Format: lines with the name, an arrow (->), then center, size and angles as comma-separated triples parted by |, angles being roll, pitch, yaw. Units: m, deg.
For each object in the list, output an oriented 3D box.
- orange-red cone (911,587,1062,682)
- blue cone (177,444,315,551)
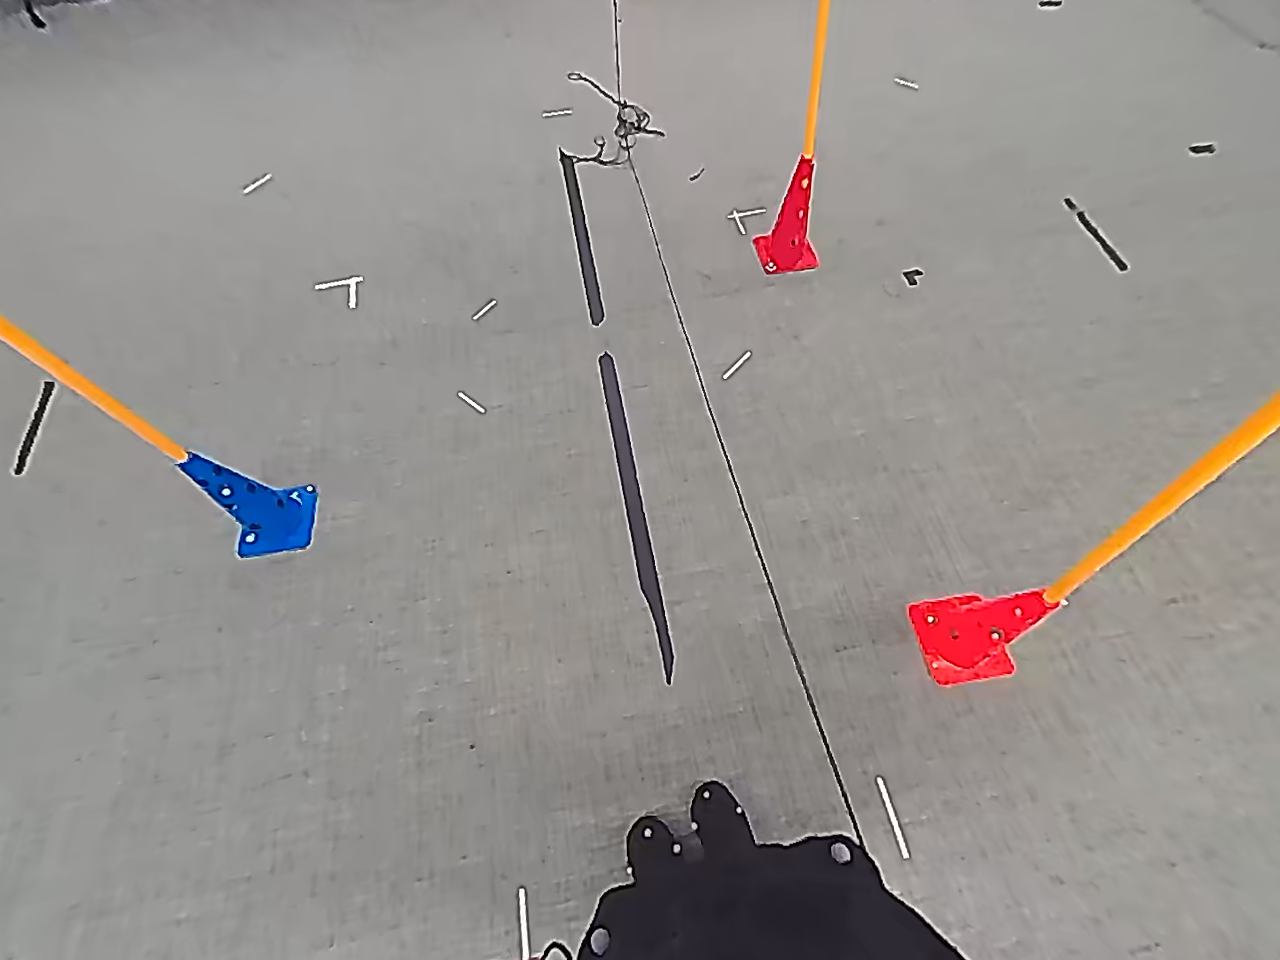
orange-red cone -> 0.772, 0.299, 1.159 | 0.198, 0.360, 0.199 | -8, 63, -1
blue cone -> -1.039, 0.029, 1.400 | 0.193, 0.380, 0.192 | -7, 61, -2
